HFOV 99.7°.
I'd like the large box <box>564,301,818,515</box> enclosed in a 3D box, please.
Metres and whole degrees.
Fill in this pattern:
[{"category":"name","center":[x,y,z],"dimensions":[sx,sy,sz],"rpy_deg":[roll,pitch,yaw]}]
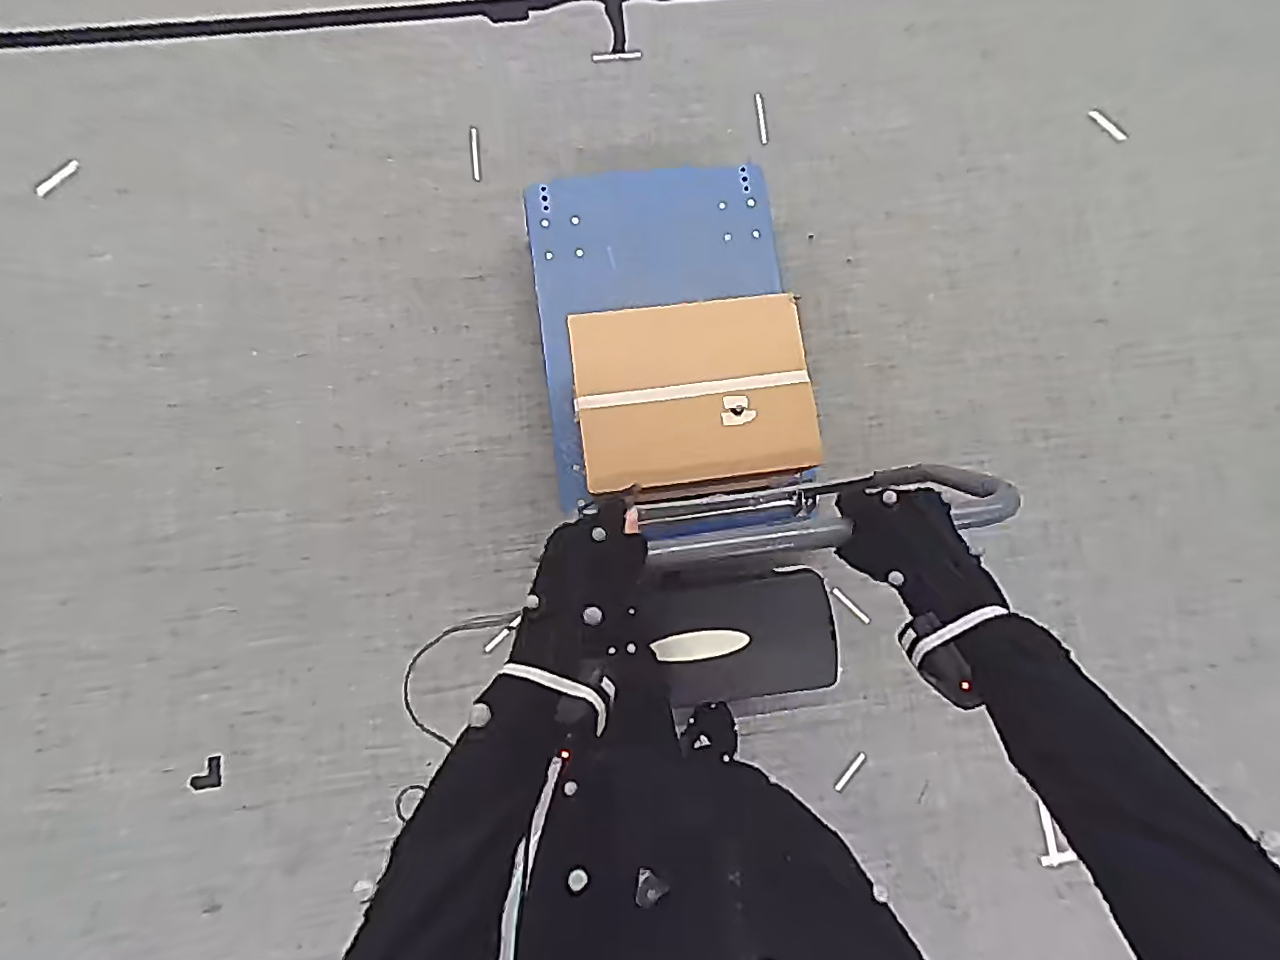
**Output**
[{"category":"large box","center":[0.077,-0.120,1.065],"dimensions":[0.408,0.320,0.320],"rpy_deg":[-7,84,-5]}]
